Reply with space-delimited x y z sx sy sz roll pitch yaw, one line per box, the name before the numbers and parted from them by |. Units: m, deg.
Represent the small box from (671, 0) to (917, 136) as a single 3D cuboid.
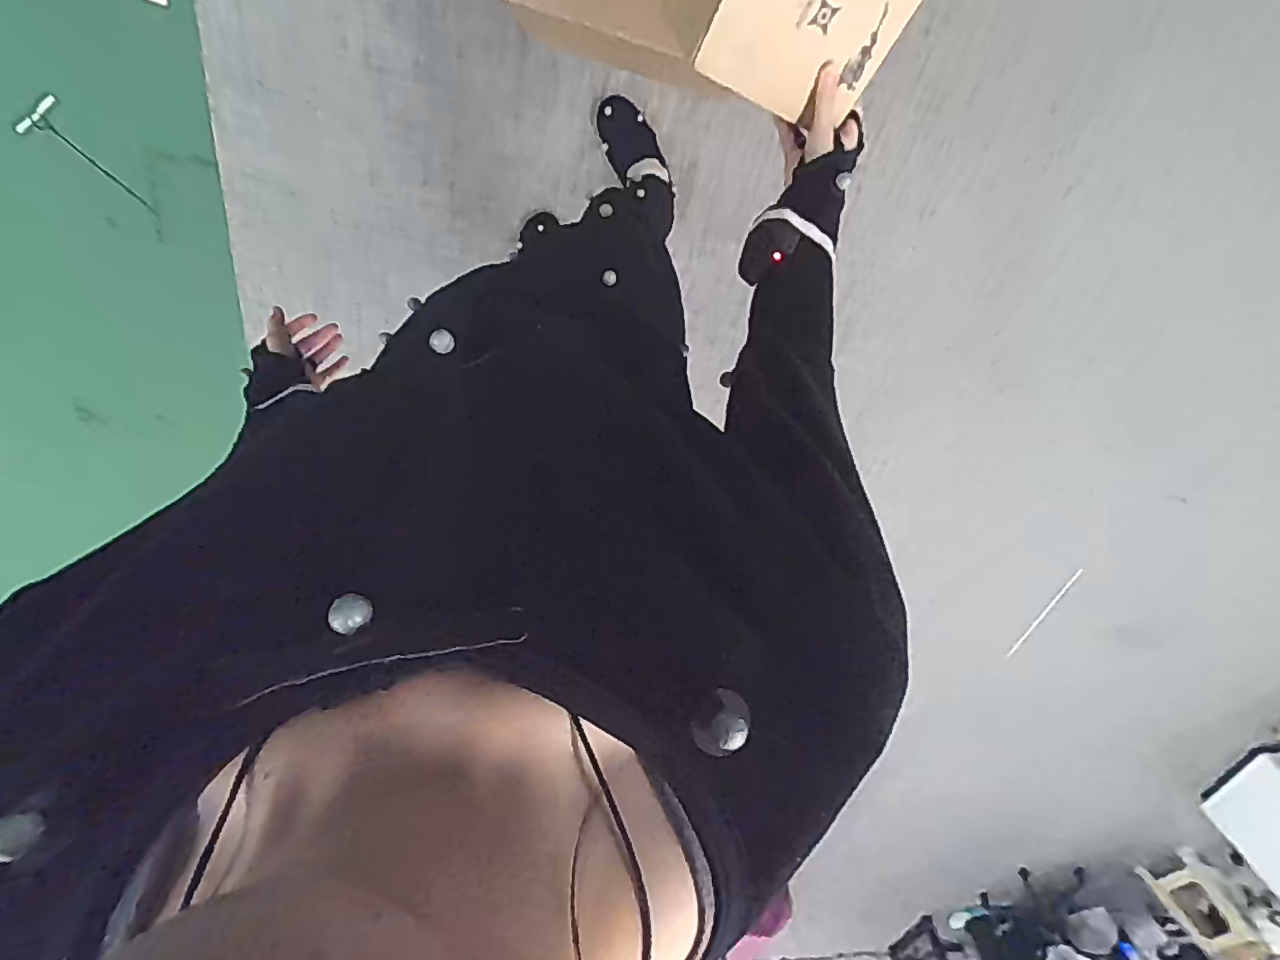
small box | 0.146 -0.486 0.528 0.179 0.176 0.168 10 140 -24
